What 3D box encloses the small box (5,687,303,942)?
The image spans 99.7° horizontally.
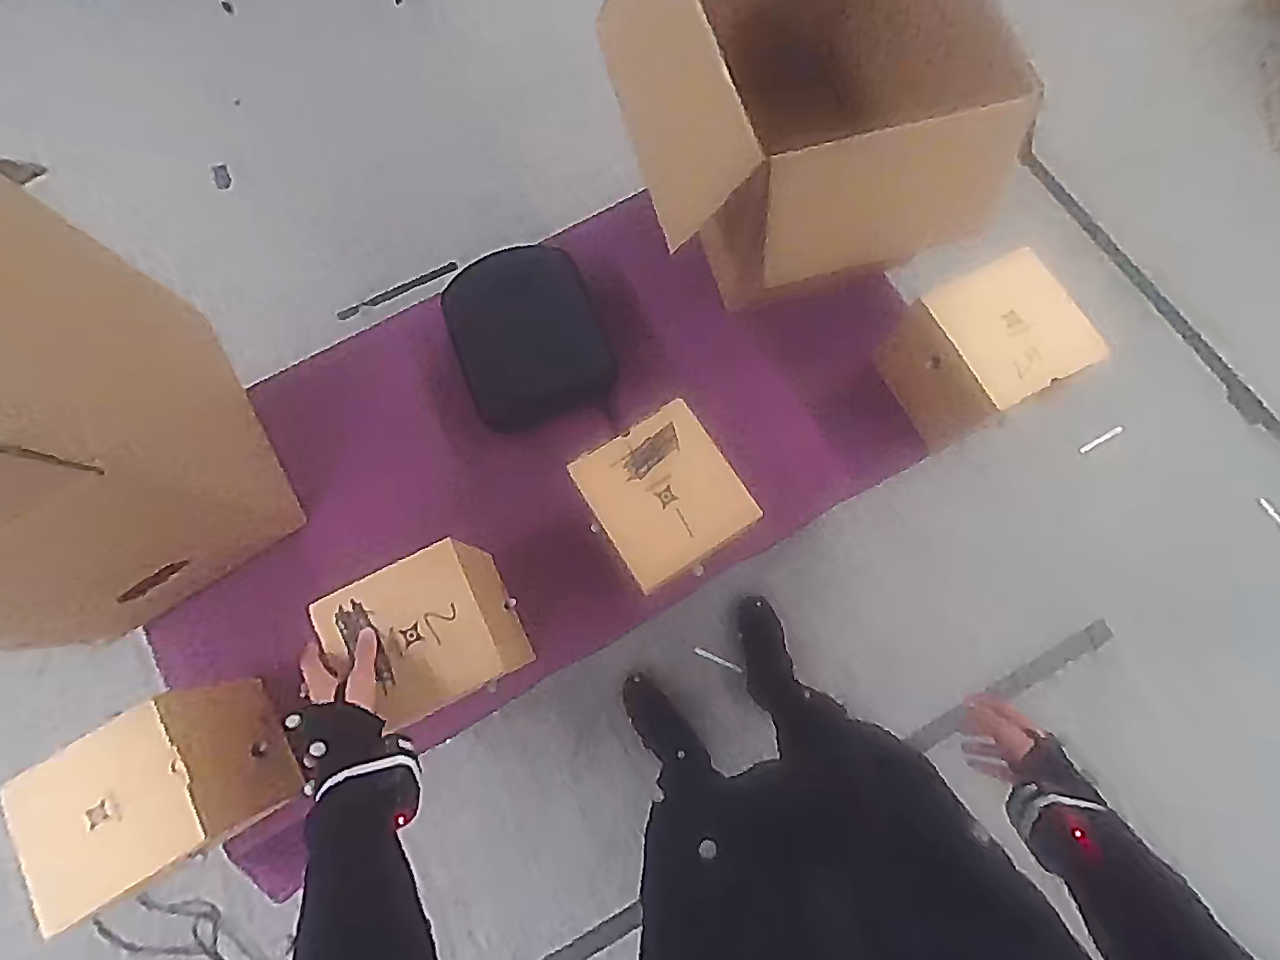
[{"bbox_3d":[-0.553,0.370,0.640,0.179,0.176,0.168,-32,78,-7],"label":"small box"}]

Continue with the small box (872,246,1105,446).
[{"bbox_3d":[0.455,-0.173,0.741,0.168,0.176,0.179,-26,77,-4],"label":"small box"}]

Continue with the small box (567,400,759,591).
[{"bbox_3d":[0.026,0.032,0.707,0.168,0.176,0.179,-33,79,-6],"label":"small box"}]
